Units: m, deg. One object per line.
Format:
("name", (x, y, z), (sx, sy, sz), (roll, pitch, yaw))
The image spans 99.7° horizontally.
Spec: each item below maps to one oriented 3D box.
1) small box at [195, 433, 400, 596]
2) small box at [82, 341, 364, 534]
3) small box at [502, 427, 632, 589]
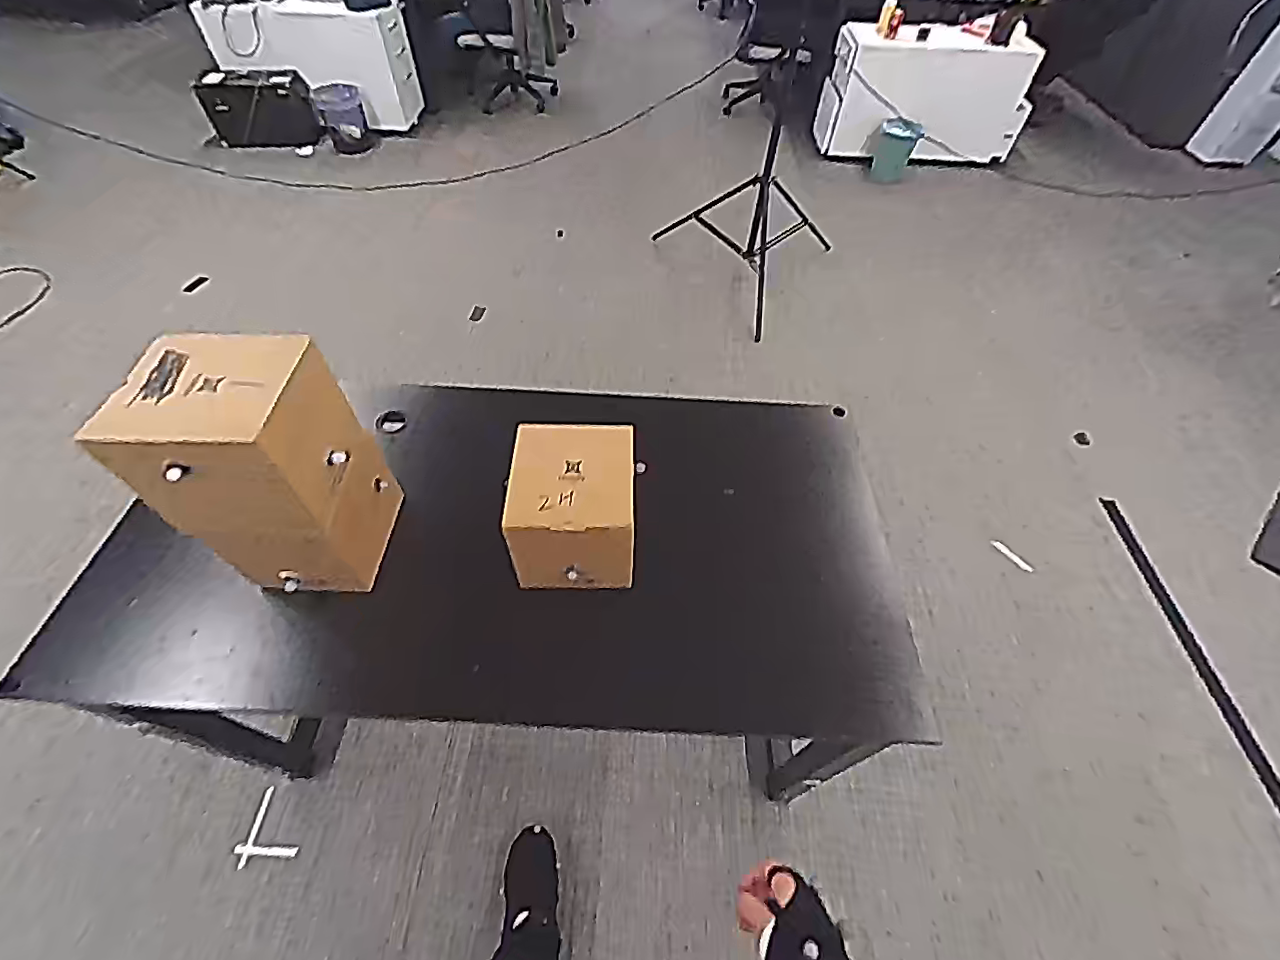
("small box", (-0.468, 0.049, 0.779), (0.168, 0.176, 0.179), (1, 53, 0))
("small box", (-0.467, -0.046, 0.644), (0.179, 0.176, 0.168), (0, 52, -2))
("small box", (-0.096, 0.042, 0.794), (0.168, 0.176, 0.179), (0, 52, -1))
